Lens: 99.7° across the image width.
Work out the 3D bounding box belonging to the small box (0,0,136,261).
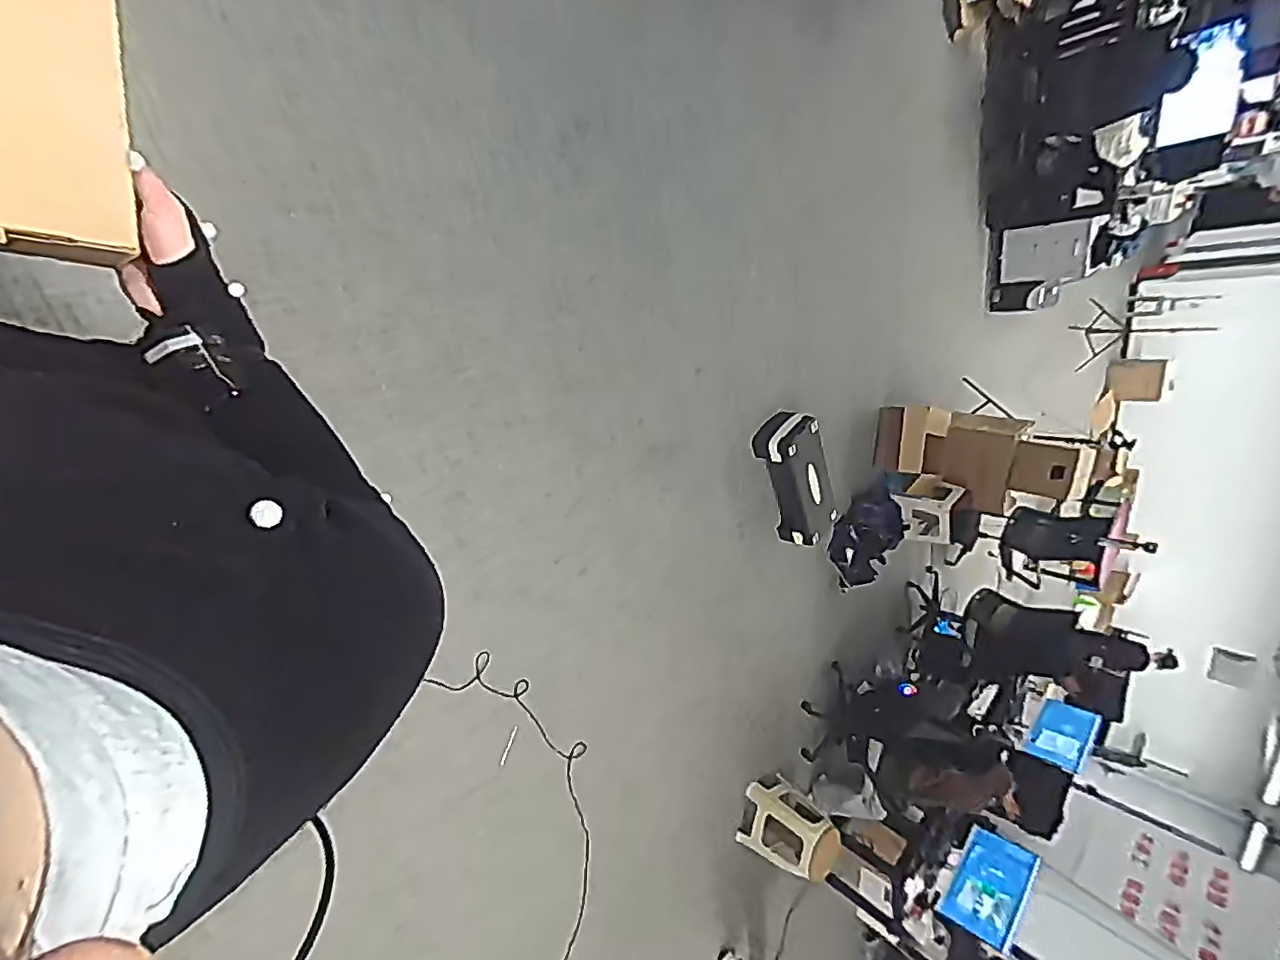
[{"bbox_3d":[-0.434,-0.241,0.330,0.168,0.176,0.179,-9,108,-48],"label":"small box"}]
